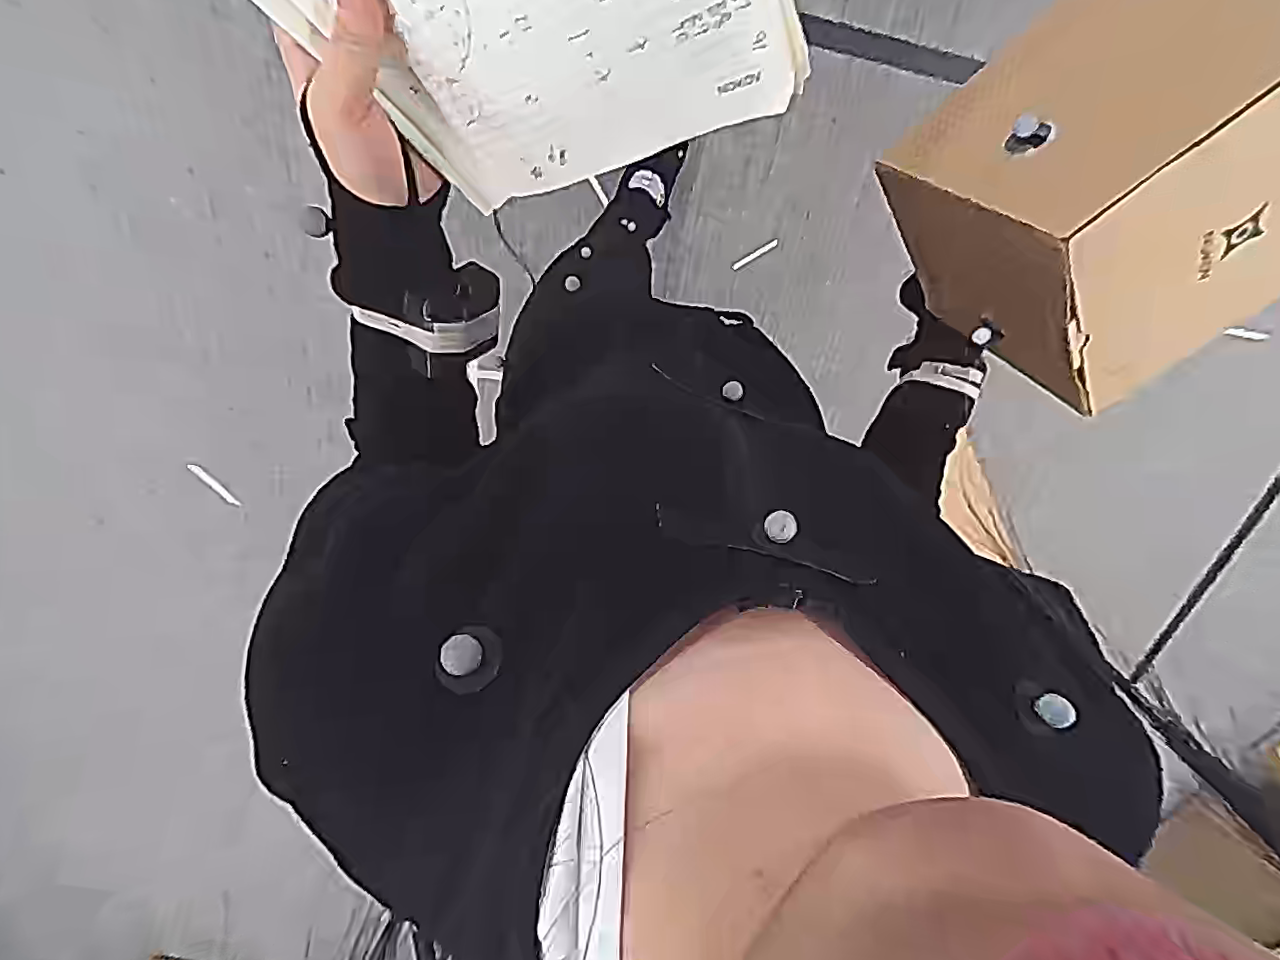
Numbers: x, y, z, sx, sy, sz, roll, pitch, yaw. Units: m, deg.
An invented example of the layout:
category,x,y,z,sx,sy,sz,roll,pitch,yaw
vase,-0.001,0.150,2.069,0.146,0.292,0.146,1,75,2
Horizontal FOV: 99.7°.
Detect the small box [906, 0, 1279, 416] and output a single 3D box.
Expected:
category,x,y,z,sx,sy,sz,roll,pitch,yaw
small box,0.302,-0.182,0.345,0.179,0.176,0.168,-39,133,16
